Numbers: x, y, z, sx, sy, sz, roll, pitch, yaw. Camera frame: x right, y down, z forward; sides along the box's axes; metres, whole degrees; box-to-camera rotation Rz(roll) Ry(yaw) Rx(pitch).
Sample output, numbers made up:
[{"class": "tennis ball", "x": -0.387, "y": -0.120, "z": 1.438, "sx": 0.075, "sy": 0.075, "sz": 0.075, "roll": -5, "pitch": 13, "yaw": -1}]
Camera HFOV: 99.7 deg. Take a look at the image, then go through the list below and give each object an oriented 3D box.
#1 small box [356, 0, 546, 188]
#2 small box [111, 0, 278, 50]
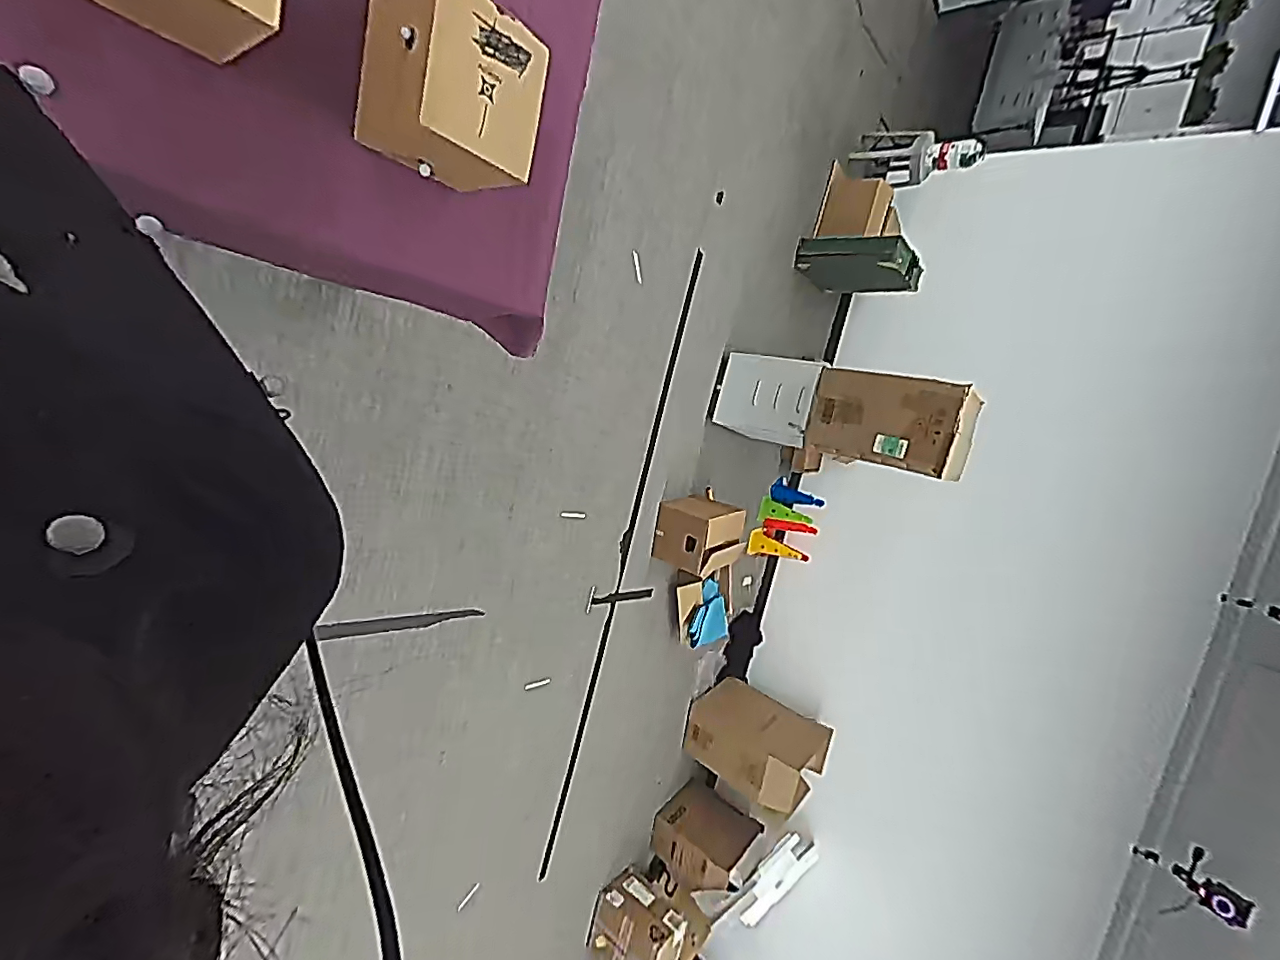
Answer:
[{"class": "small box", "x": -0.255, "y": -0.518, "z": 0.724, "sx": 0.168, "sy": 0.176, "sz": 0.179, "roll": 1, "pitch": 104, "yaw": -53}, {"class": "small box", "x": -0.438, "y": -0.525, "z": 0.473, "sx": 0.179, "sy": 0.176, "sz": 0.168, "roll": 1, "pitch": 103, "yaw": -53}]
